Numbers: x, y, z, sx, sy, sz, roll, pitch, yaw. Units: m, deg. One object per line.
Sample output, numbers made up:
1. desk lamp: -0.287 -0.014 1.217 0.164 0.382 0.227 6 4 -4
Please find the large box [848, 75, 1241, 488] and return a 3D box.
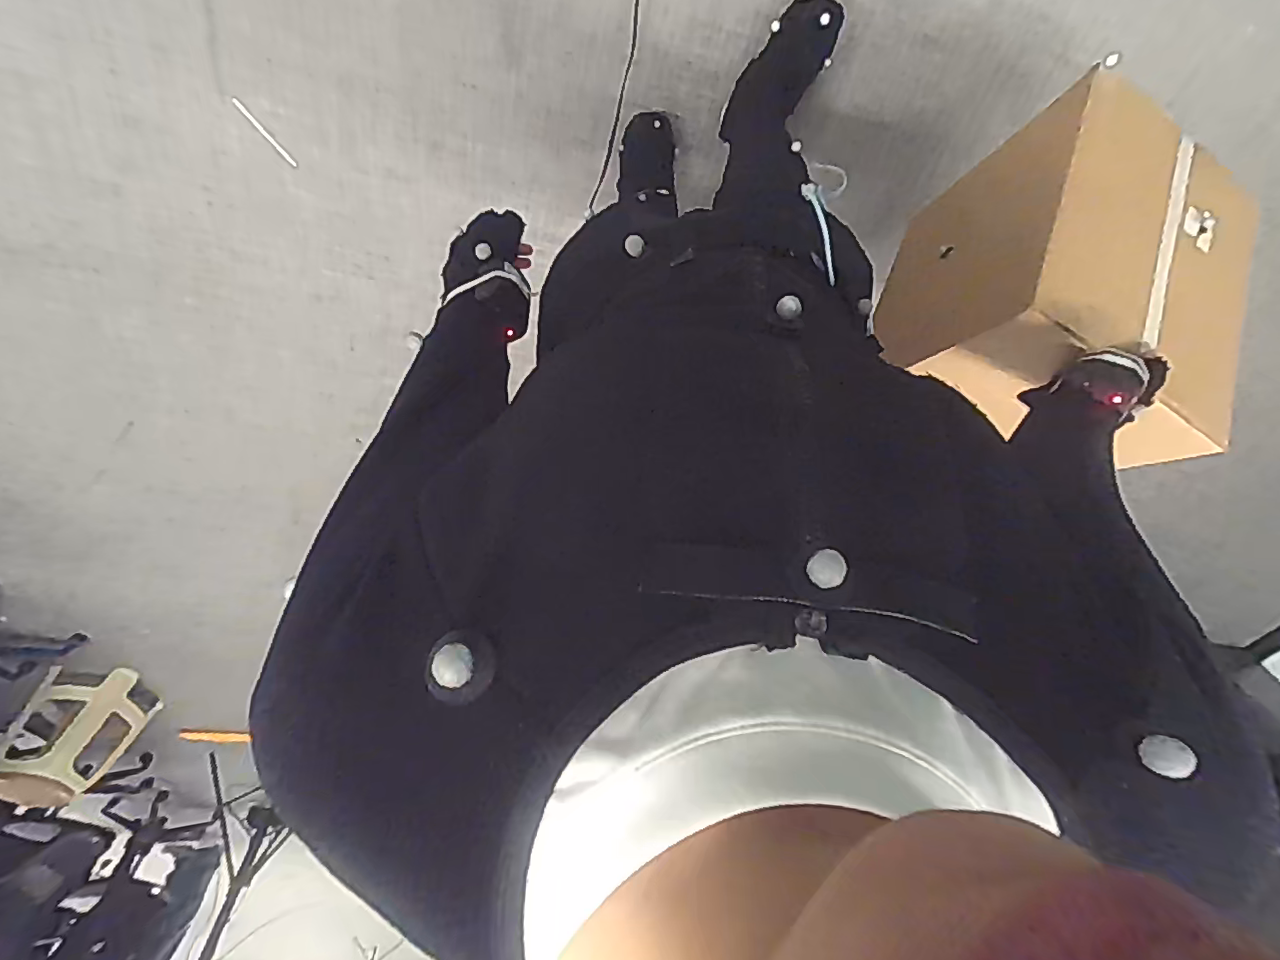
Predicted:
1. large box: 0.573 -0.250 0.798 0.320 0.408 0.320 29 162 -11
